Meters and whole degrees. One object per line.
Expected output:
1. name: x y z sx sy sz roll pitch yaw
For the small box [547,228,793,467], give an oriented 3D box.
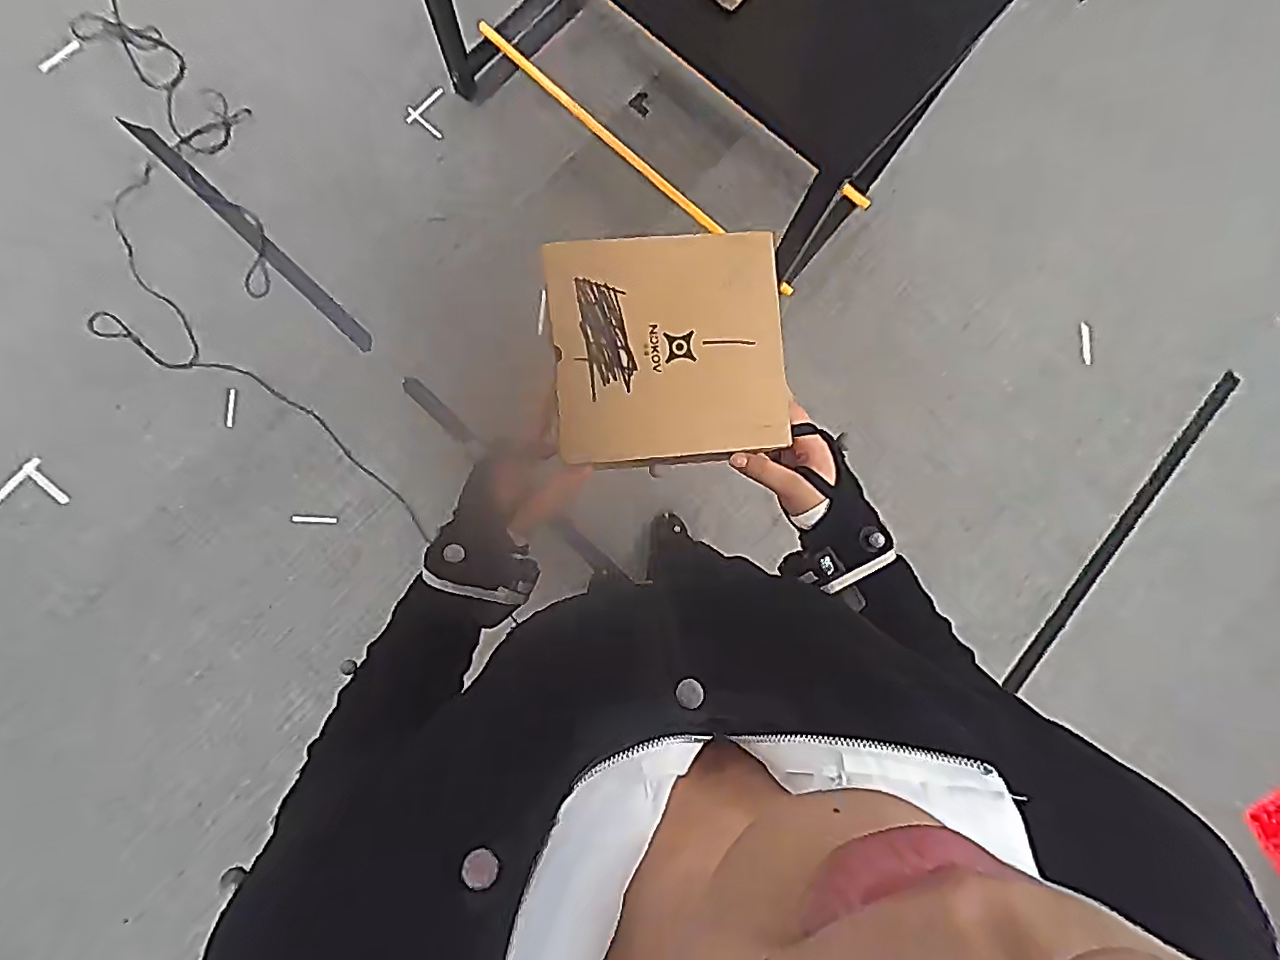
1. small box: 0.018 -0.102 0.483 0.179 0.176 0.168 -5 90 -5
